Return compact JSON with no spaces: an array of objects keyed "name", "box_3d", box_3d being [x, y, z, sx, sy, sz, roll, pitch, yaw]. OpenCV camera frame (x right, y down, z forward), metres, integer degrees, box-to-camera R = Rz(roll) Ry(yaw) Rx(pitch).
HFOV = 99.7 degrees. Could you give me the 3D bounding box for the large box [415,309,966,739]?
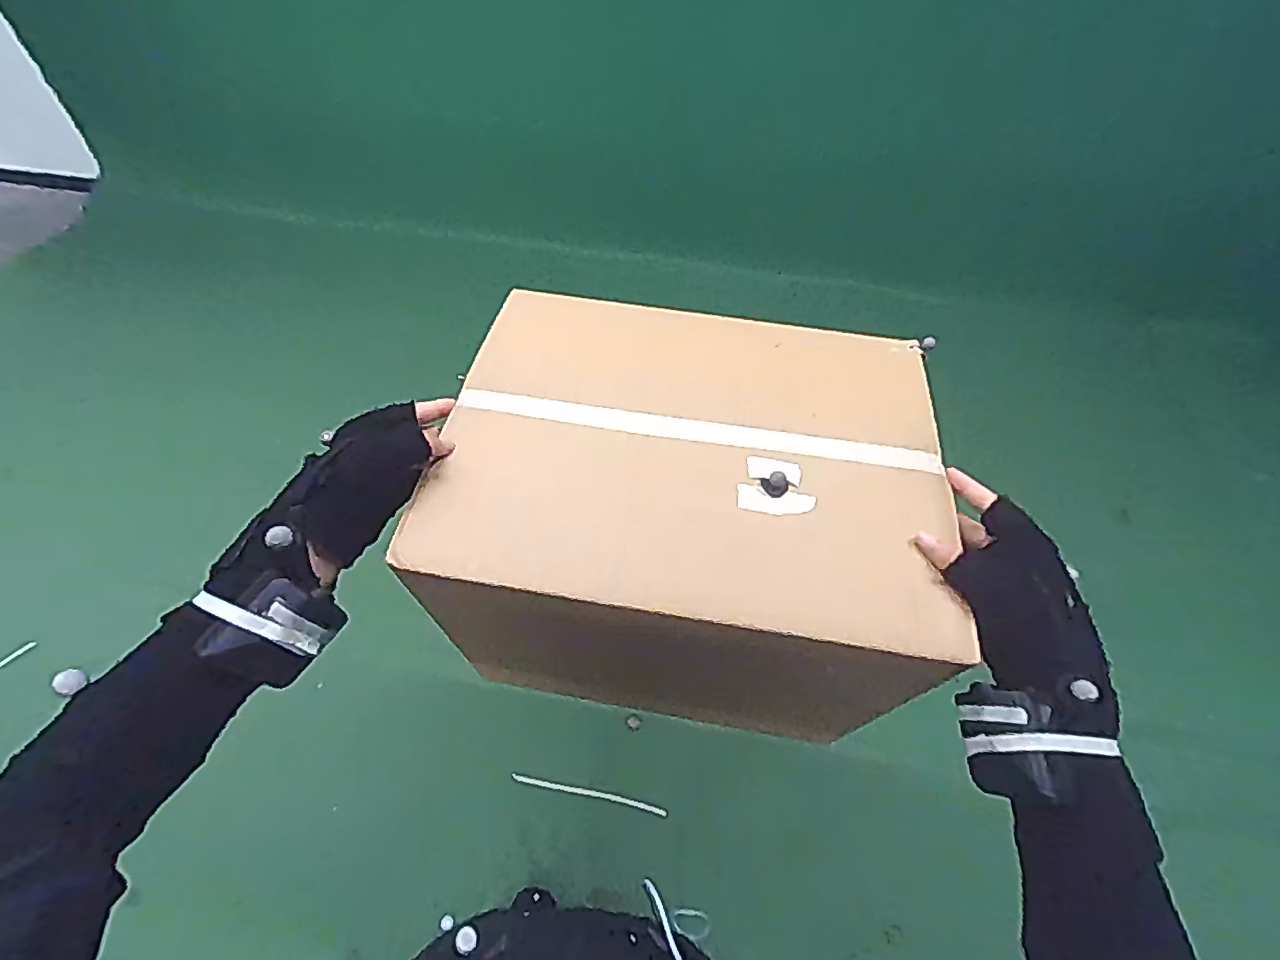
[{"name":"large box","box_3d":[0.044,0.057,0.586,0.408,0.320,0.320,9,55,3]}]
